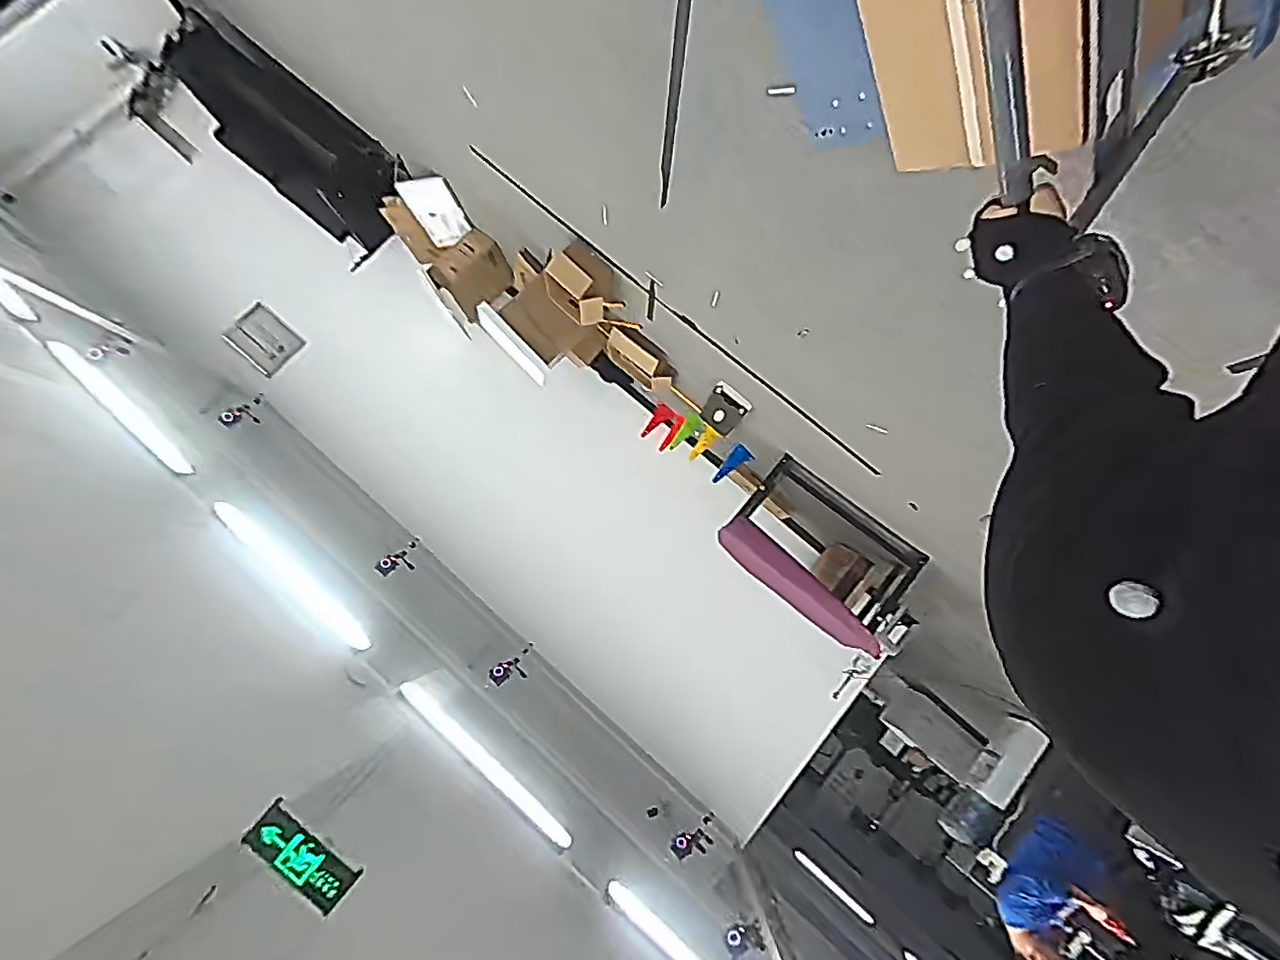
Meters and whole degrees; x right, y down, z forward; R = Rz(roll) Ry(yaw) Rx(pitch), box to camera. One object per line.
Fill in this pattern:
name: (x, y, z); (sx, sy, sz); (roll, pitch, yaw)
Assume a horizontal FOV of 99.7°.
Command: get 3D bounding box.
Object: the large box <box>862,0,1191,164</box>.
large box: (0.586, -0.787, 0.831); (0.320, 0.320, 0.408); (30, 165, 51)
